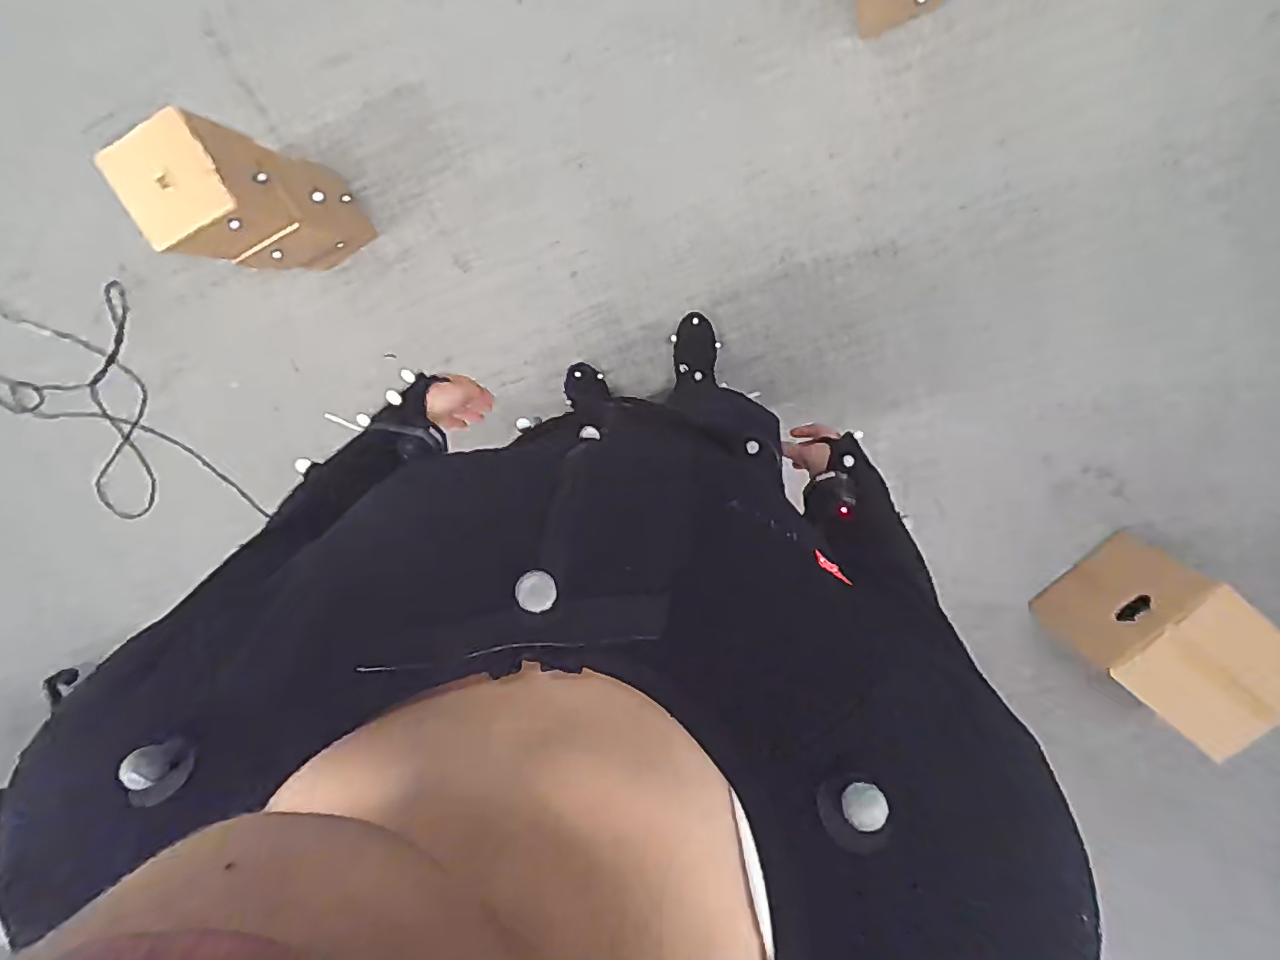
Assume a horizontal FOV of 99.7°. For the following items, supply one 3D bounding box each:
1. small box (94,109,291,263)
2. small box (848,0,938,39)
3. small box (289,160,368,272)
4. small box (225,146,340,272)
[{"bbox_3d":[-0.785,-0.509,0.969,0.179,0.176,0.168,-25,104,9],"label":"small box"},{"bbox_3d":[0.519,-1.043,1.078,0.168,0.176,0.179,-18,105,9],"label":"small box"},{"bbox_3d":[-0.780,-0.613,1.278,0.179,0.176,0.168,-27,103,11],"label":"small box"},{"bbox_3d":[-0.778,-0.550,1.126,0.179,0.176,0.168,-24,105,9],"label":"small box"}]
